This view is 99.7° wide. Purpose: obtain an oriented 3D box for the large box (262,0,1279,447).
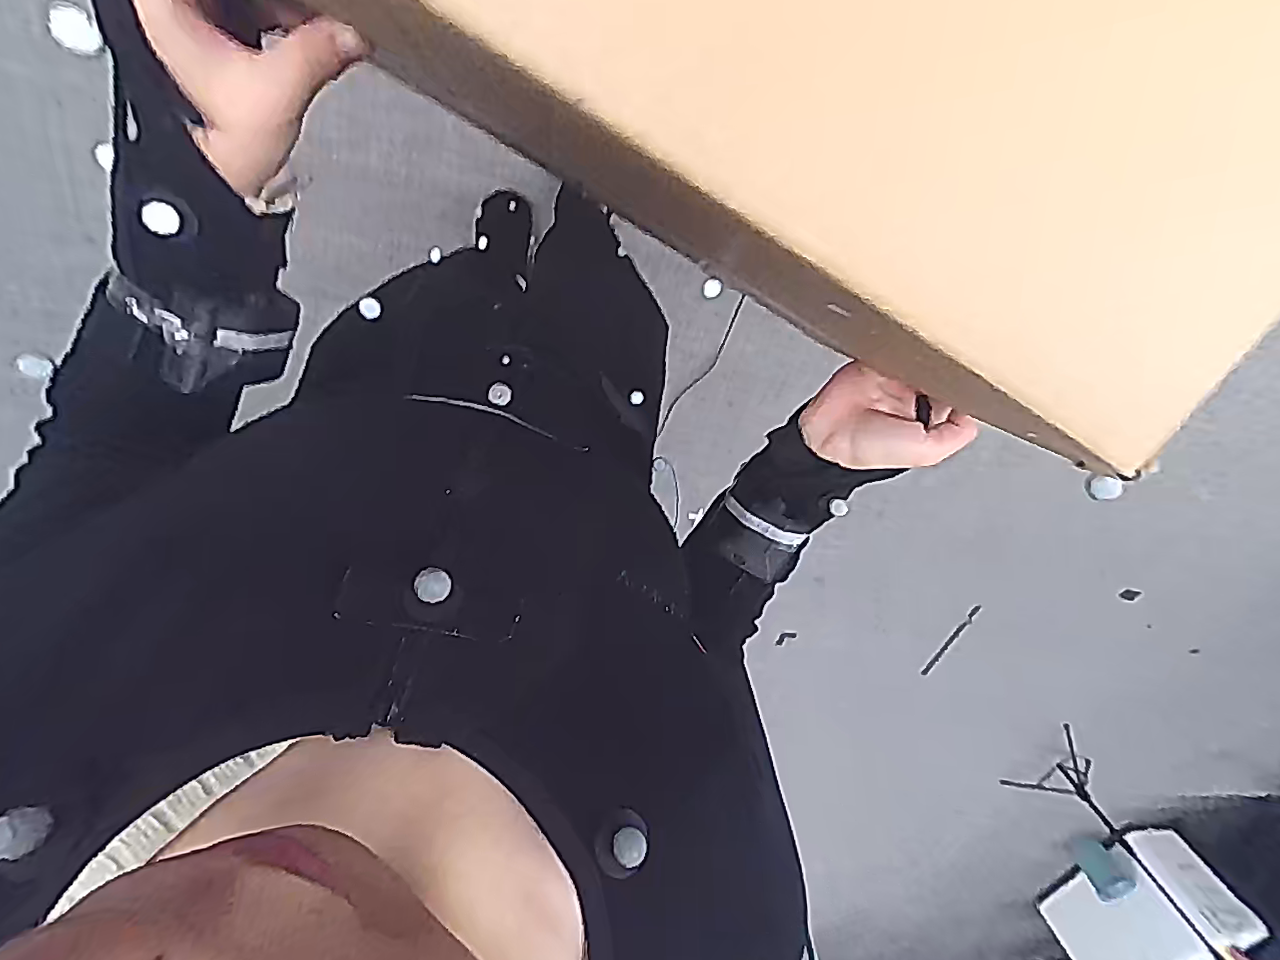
[{"bbox_3d":[0.065,-0.273,0.233,0.408,0.320,0.320,23,112,-17],"label":"large box"}]
